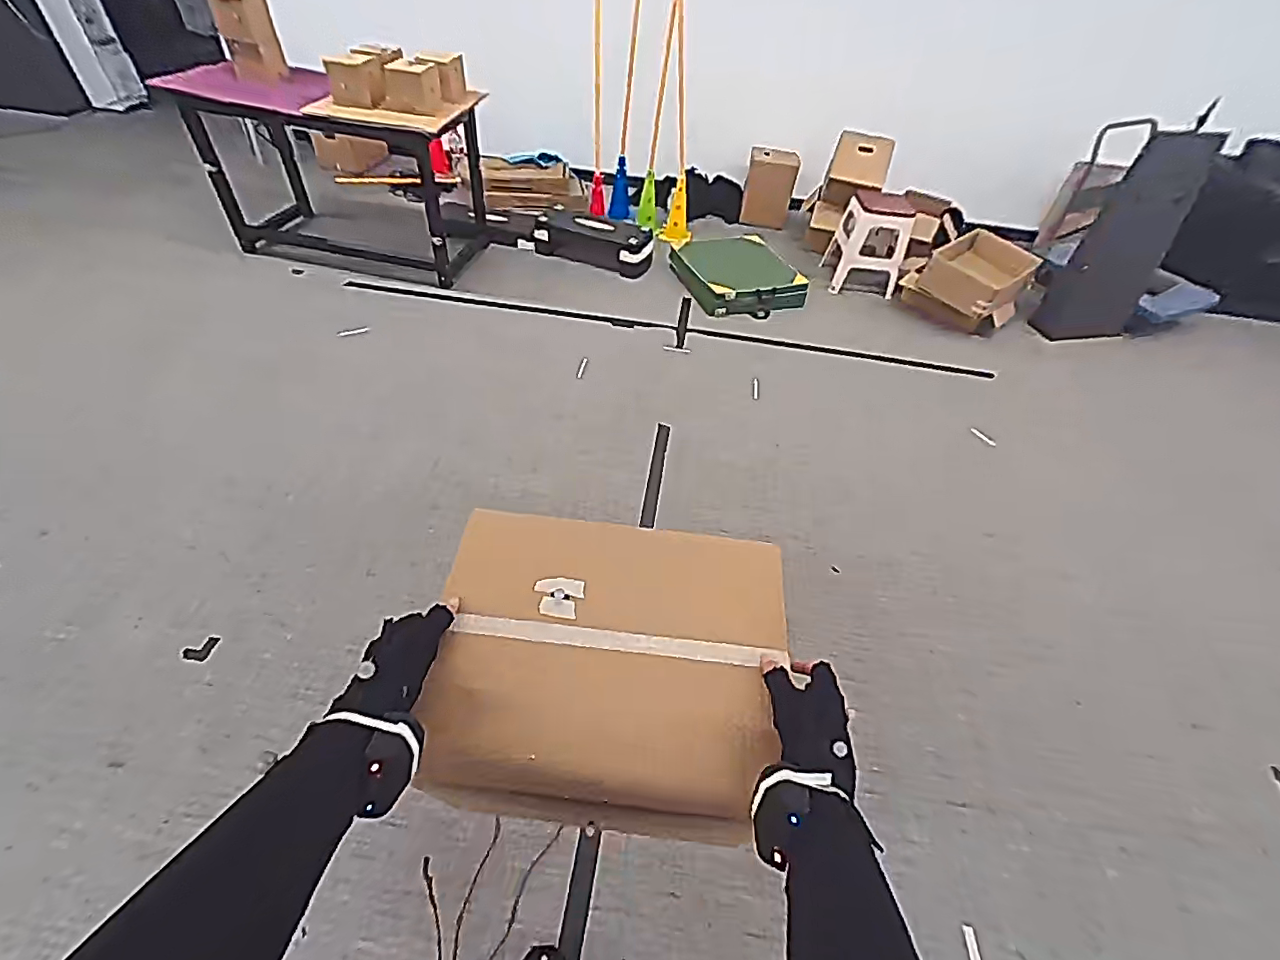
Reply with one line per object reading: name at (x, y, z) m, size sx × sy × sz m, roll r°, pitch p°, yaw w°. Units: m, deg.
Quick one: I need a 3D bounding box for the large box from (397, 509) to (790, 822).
large box at (-0.039, 0.266, 0.745) m, size 0.408 × 0.320 × 0.320 m, roll 6°, pitch 53°, yaw 2°
